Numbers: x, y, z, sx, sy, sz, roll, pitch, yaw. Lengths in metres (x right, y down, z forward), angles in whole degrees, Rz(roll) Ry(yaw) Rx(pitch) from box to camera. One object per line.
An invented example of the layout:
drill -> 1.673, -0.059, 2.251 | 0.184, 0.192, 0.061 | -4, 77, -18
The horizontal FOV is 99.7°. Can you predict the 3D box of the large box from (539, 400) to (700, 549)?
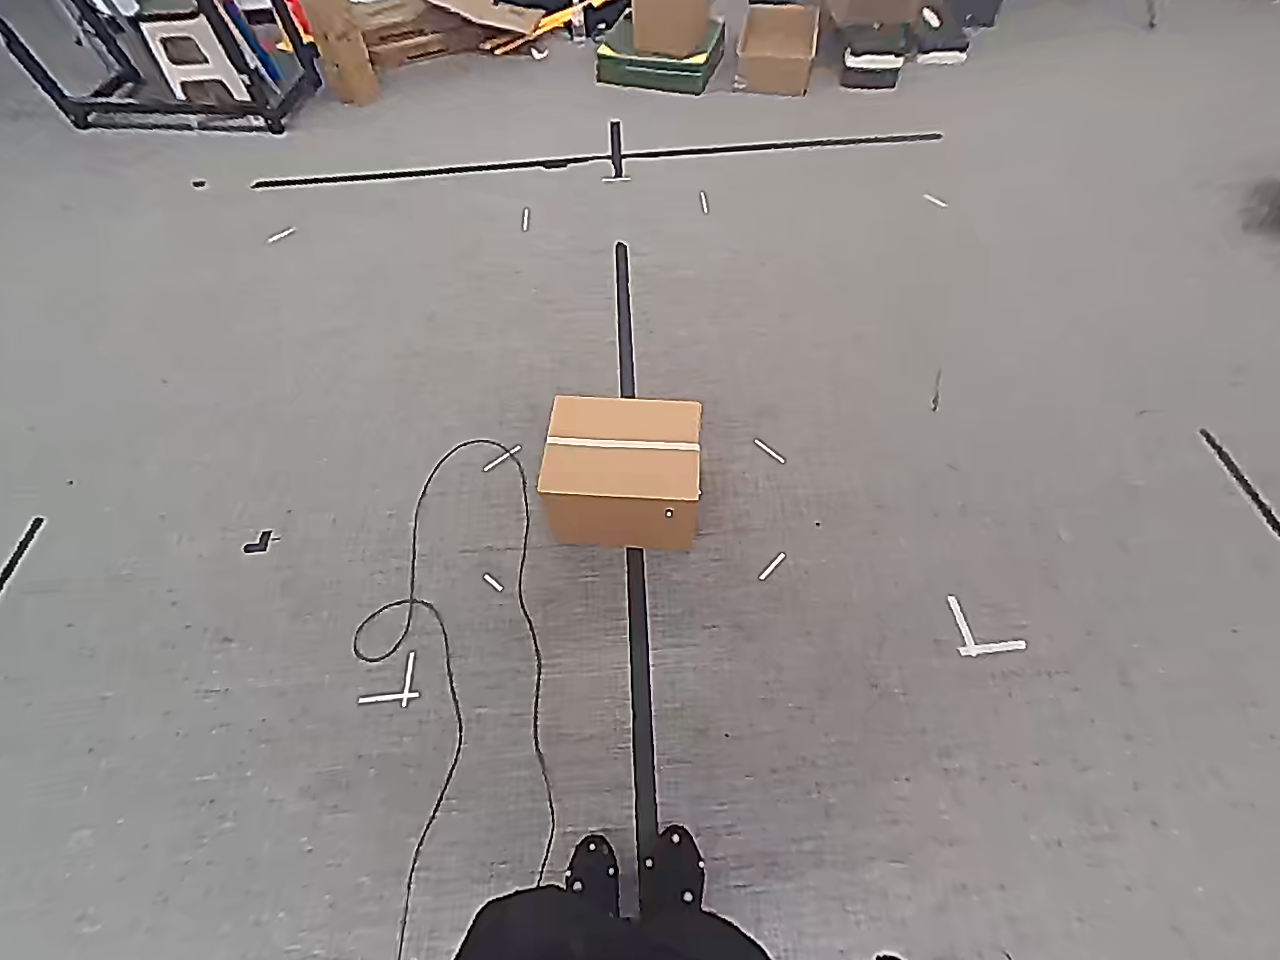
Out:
large box -> -0.041, -0.007, 1.533 | 0.408, 0.320, 0.320 | 3, 59, 3
